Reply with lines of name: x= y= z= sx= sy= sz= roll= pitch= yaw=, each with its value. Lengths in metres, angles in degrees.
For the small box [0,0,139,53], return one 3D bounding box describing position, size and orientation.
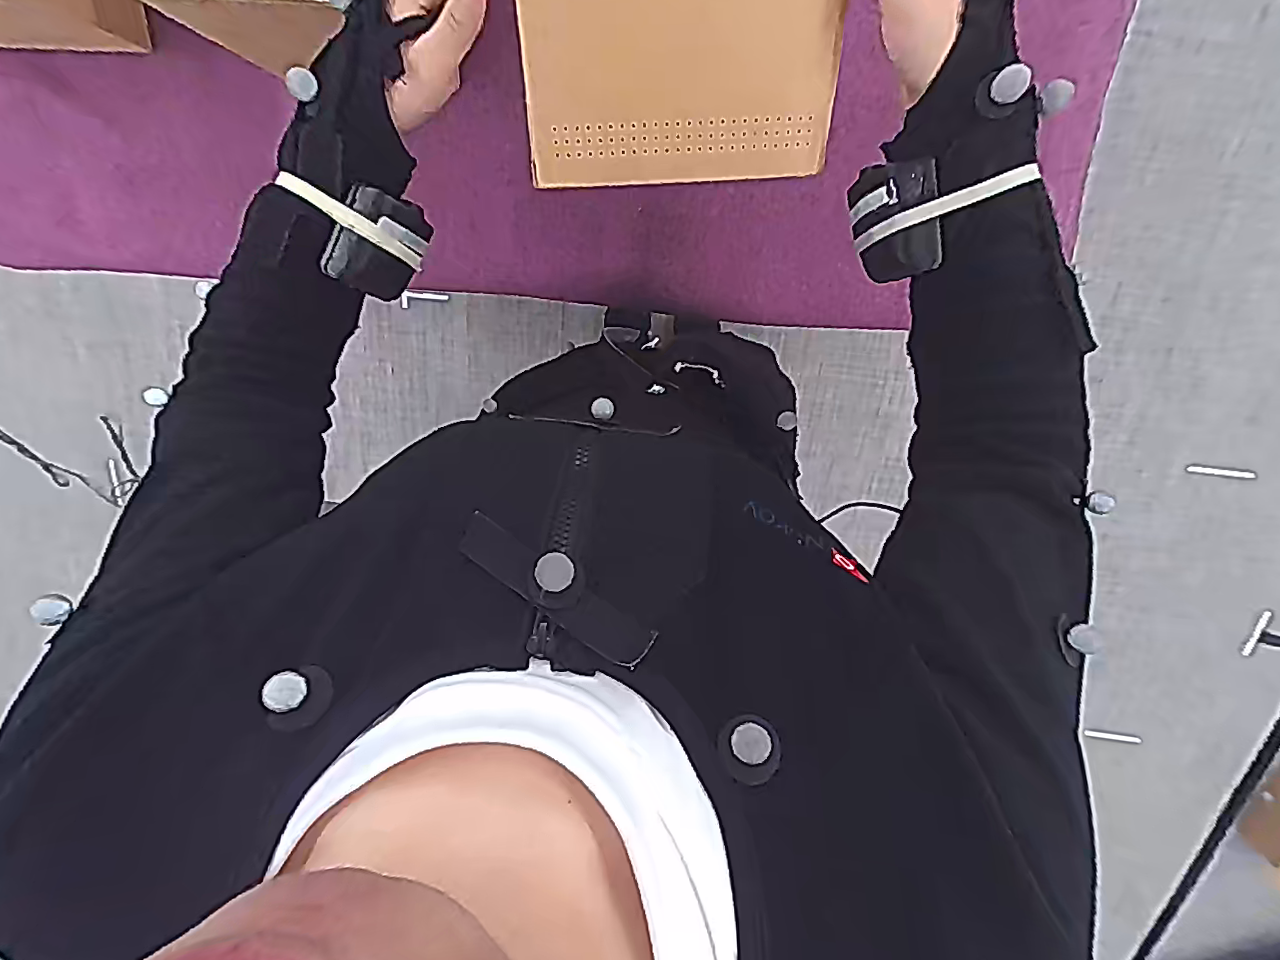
small box: x=-0.557 y=-0.473 z=0.431 sx=0.179 sy=0.176 sz=0.168 roll=3 pitch=108 yaw=1
